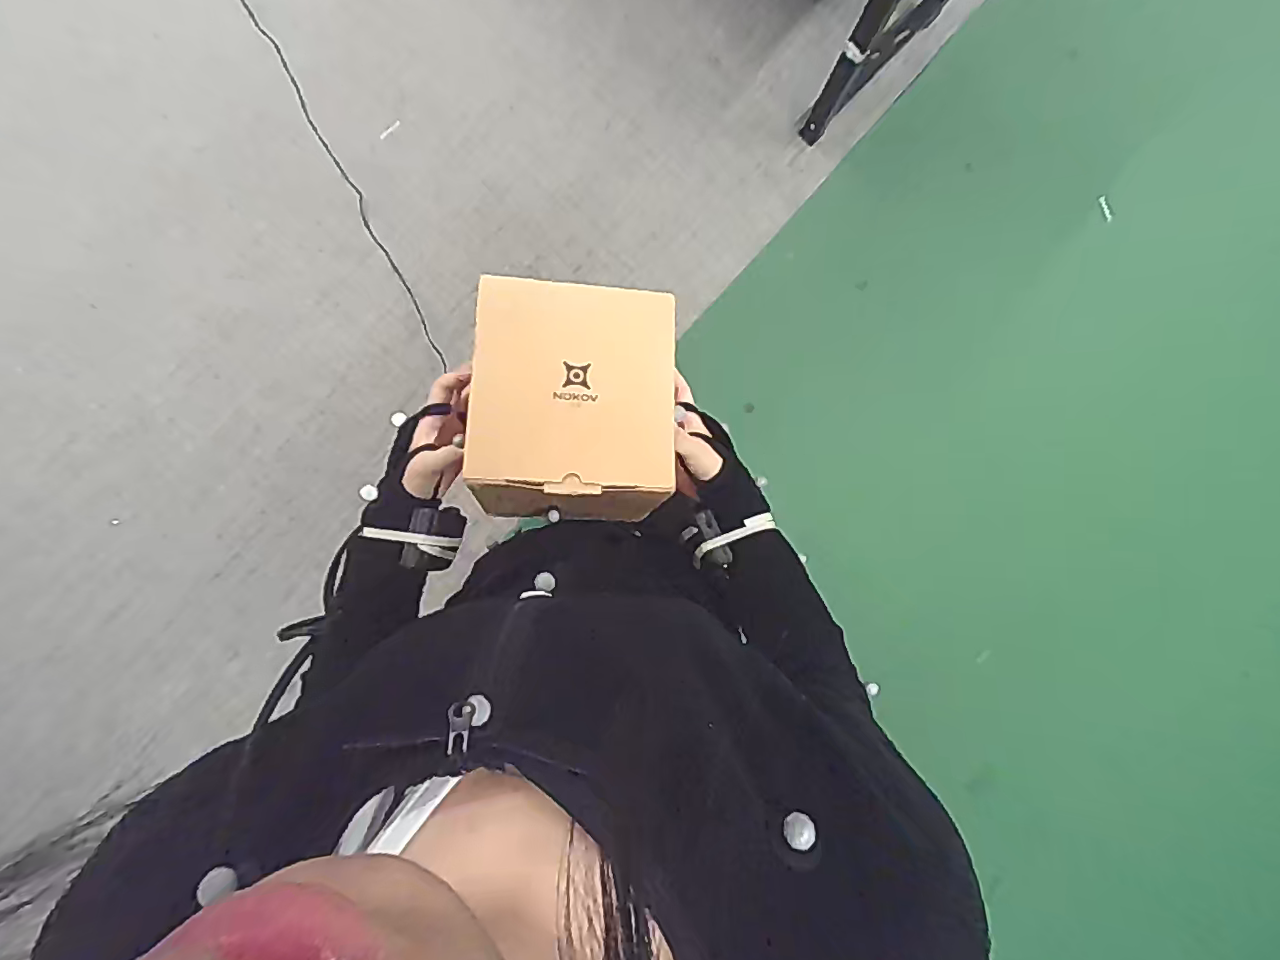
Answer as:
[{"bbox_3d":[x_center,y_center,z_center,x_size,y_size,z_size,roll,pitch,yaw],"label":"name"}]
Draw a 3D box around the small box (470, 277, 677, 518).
[{"bbox_3d":[-0.065,-0.064,0.520,0.168,0.176,0.179,3,78,-10],"label":"small box"}]
